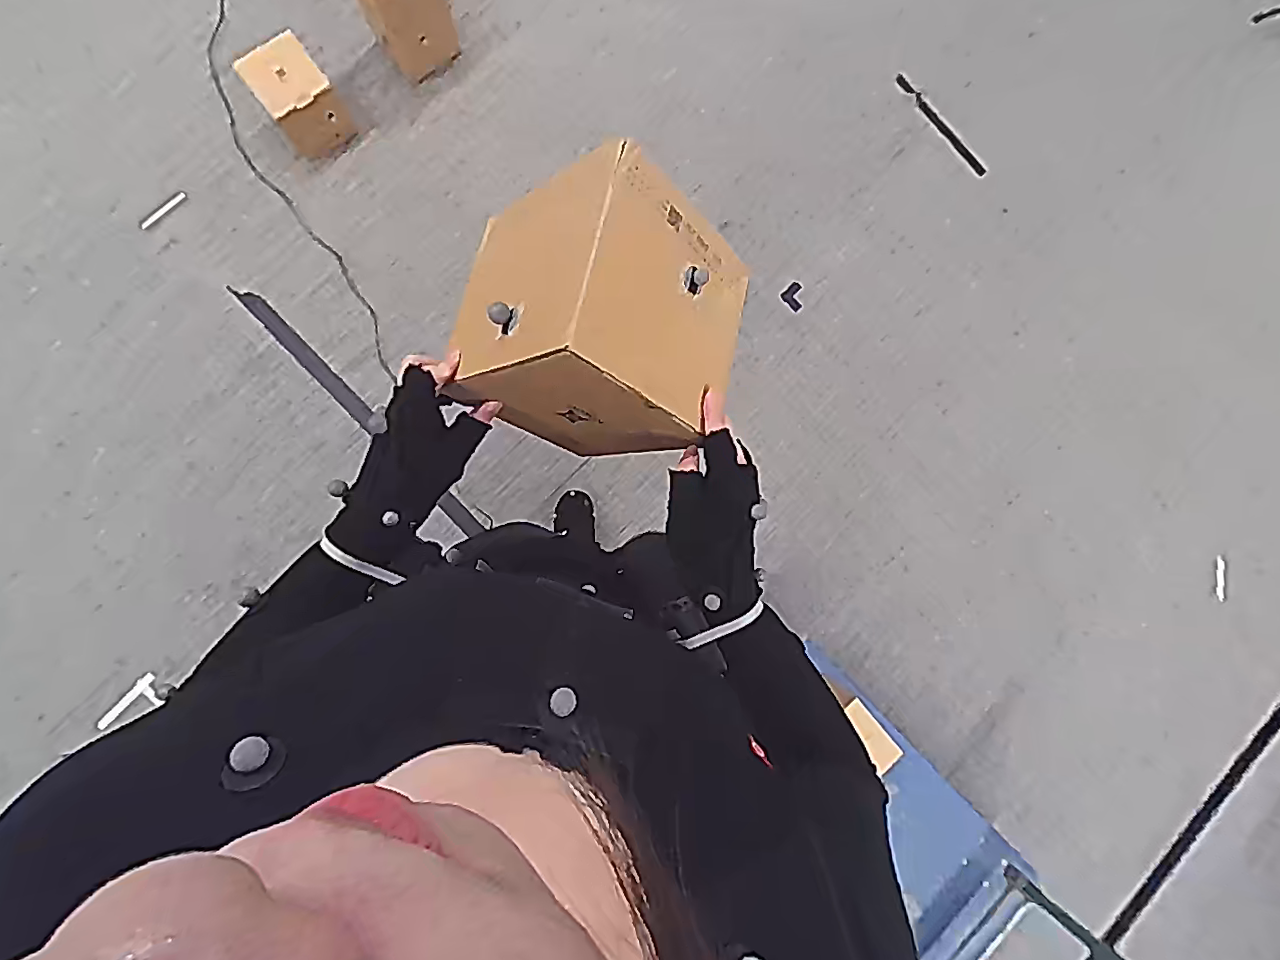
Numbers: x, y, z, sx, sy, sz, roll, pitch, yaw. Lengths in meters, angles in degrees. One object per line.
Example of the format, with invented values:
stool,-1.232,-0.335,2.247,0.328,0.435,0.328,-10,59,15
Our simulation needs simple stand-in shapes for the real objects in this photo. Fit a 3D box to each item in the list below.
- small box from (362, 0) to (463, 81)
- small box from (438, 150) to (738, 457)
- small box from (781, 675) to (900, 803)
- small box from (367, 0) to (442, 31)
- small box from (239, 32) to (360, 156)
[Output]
small box,-0.605,-1.230,1.445,0.179,0.176,0.168,-41,91,-6
small box,-0.038,-0.130,0.465,0.168,0.179,0.176,26,70,-43
small box,0.451,0.591,1.257,0.179,0.176,0.168,-40,92,-6
small box,-0.596,-1.231,1.279,0.179,0.176,0.168,-39,91,-7
small box,-0.874,-0.989,1.409,0.168,0.176,0.179,-38,90,-7
